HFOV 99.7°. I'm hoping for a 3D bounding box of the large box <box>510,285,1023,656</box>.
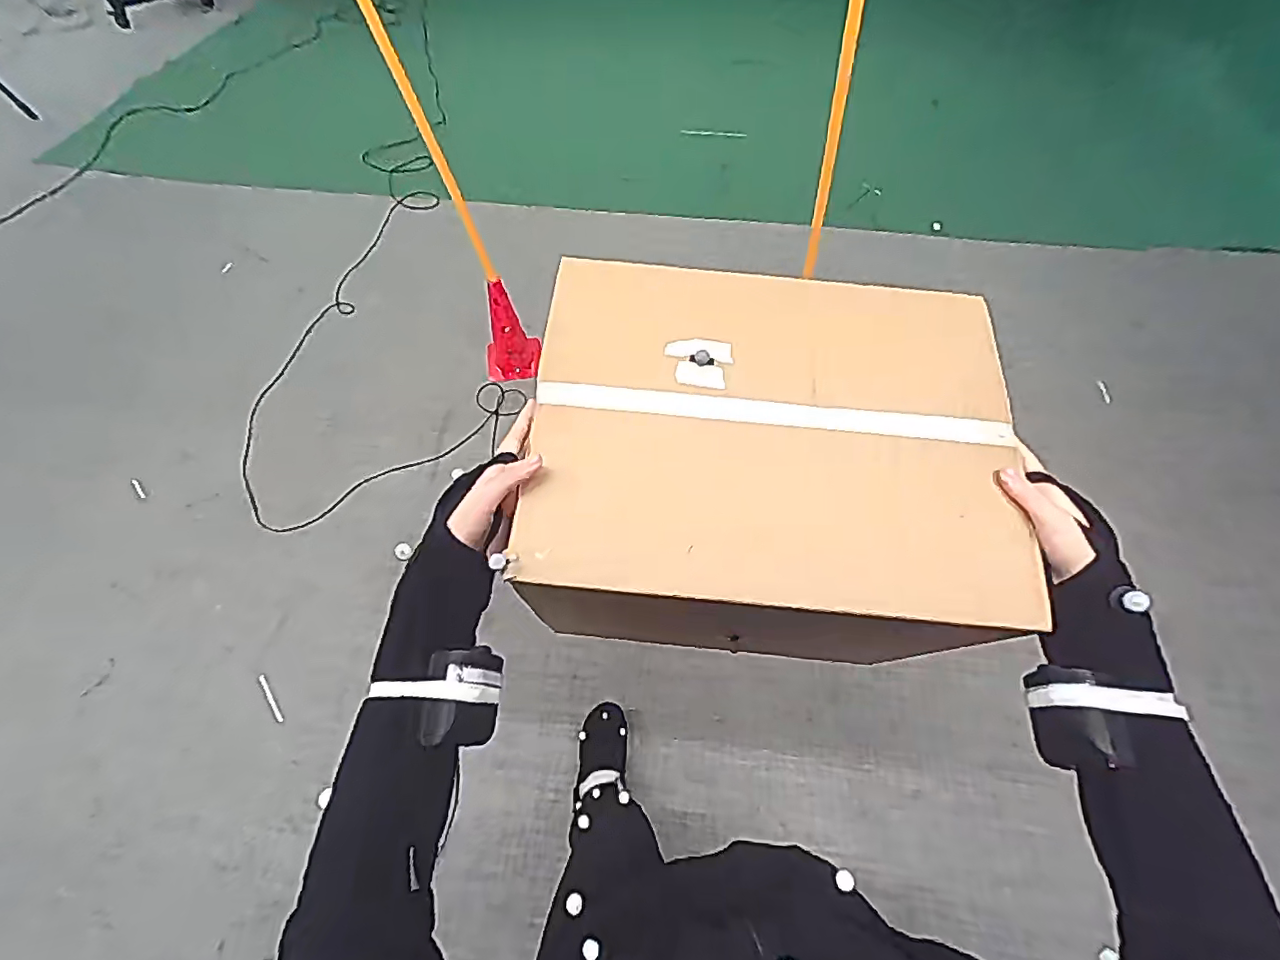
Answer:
[{"bbox_3d":[0.107,0.017,0.608,0.408,0.320,0.320,5,66,1],"label":"large box"}]
